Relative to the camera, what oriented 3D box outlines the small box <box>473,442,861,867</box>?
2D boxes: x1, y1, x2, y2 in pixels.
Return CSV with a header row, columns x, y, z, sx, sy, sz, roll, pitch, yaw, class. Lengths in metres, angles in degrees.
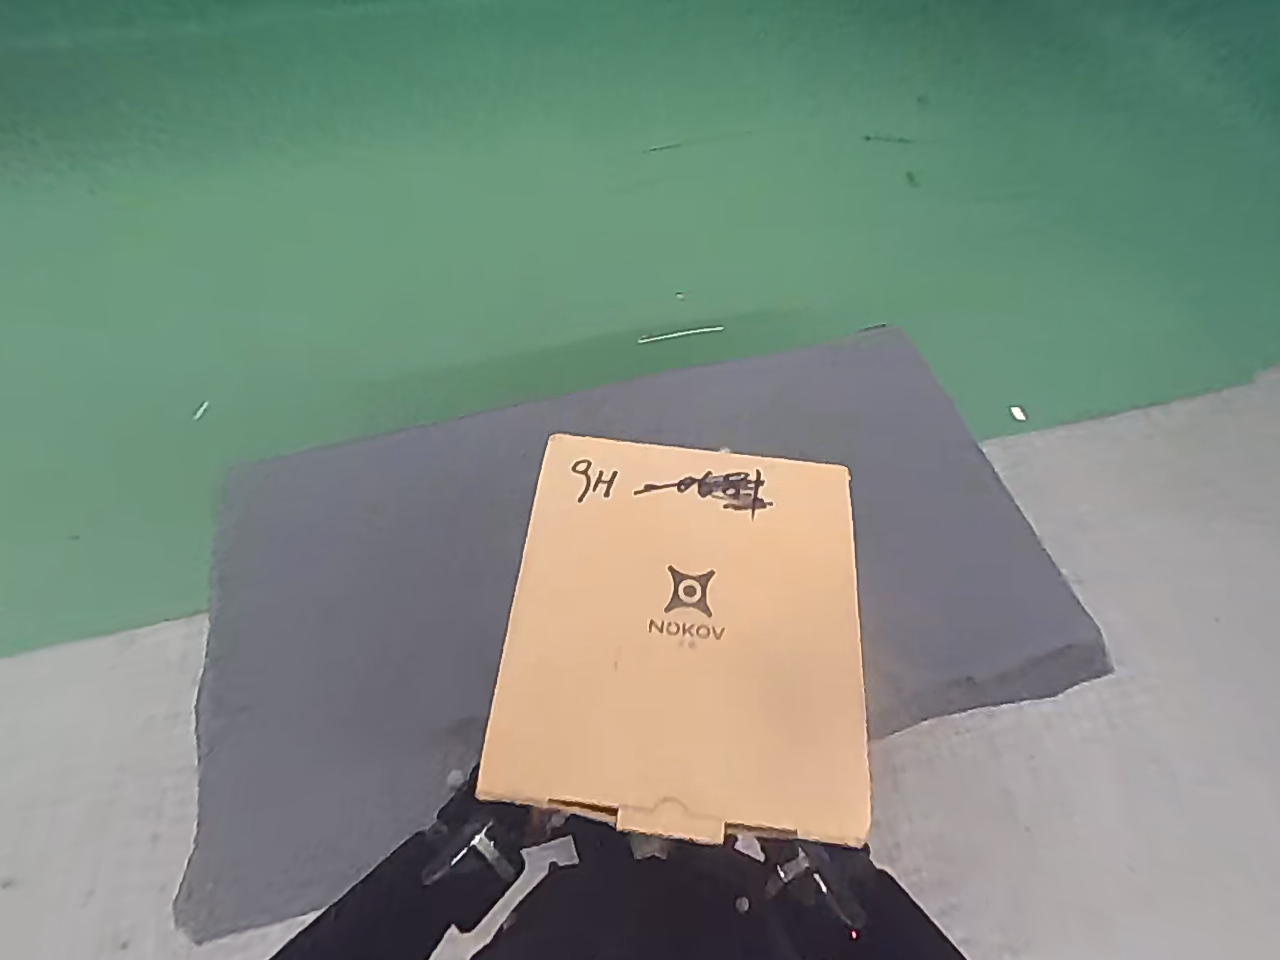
x,y,z,sx,sy,sz,roll,pitch,yaw,class
0.019,0.098,0.327,0.168,0.176,0.179,7,67,1,small box
